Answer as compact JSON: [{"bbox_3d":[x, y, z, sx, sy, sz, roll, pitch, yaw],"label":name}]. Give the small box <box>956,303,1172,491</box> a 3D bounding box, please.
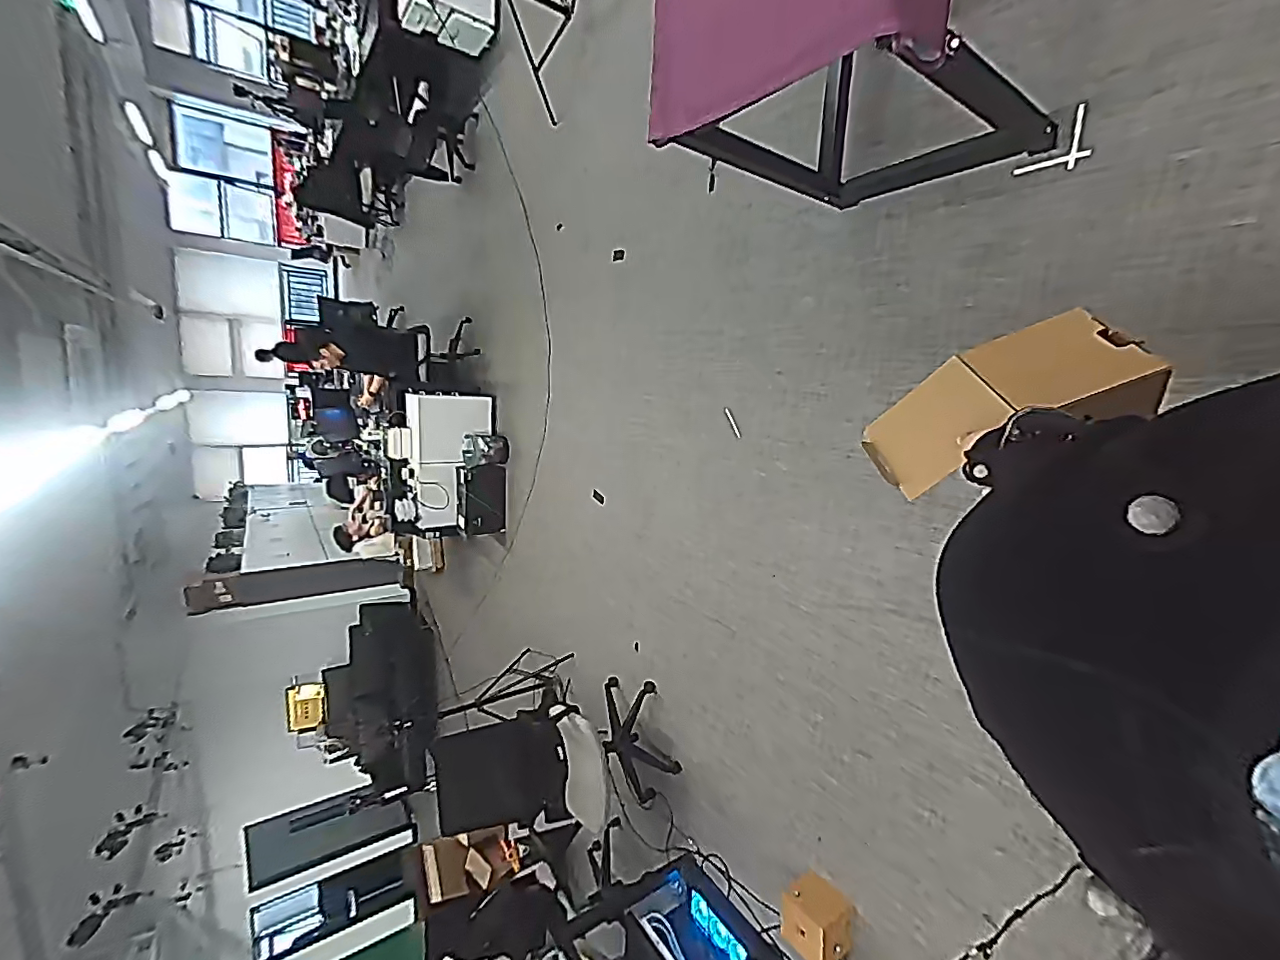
[{"bbox_3d":[0.582,-0.111,0.770,0.179,0.176,0.168,-21,43,11],"label":"small box"}]
